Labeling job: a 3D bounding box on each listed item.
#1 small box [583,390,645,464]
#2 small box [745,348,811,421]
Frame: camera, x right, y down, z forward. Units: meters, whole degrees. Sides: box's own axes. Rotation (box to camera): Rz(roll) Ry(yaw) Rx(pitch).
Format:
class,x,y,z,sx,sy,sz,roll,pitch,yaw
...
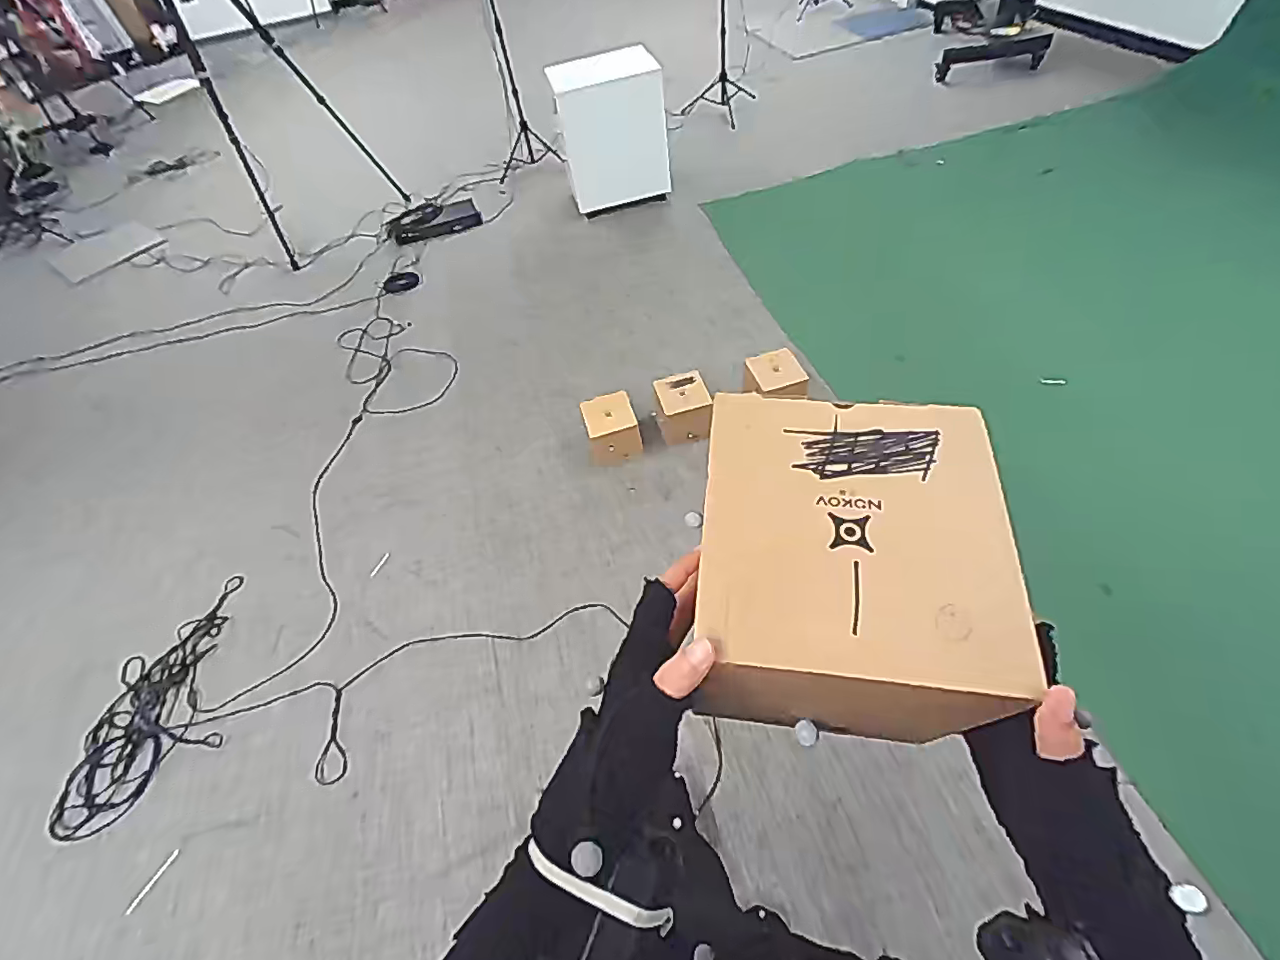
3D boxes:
class,x,y,z,sx,sy,sz,roll,pitch,yaw
small box,-0.087,-0.175,1.876,0.168,0.176,0.179,-17,52,-4
small box,0.481,-0.329,1.908,0.168,0.176,0.179,-16,53,-5
